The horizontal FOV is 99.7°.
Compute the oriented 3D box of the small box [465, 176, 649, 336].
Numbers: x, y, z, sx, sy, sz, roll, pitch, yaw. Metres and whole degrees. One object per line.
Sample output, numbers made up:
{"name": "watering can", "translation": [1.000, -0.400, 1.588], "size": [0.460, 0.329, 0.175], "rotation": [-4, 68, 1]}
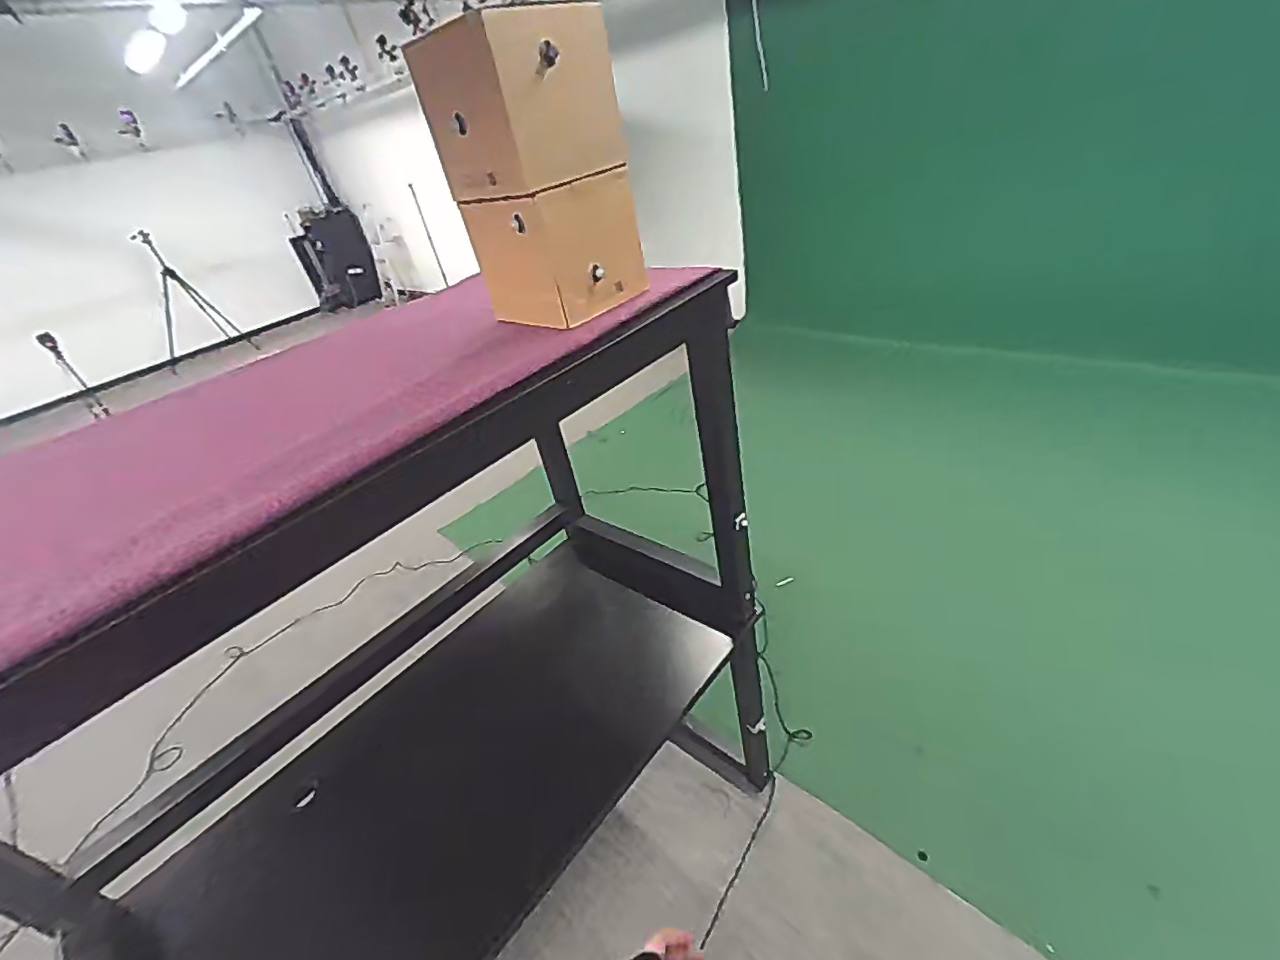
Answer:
{"name": "small box", "translation": [-0.111, -0.316, 0.768], "size": [0.179, 0.176, 0.168], "rotation": [20, 45, 39]}

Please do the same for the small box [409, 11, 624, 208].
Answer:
{"name": "small box", "translation": [-0.141, -0.445, 0.670], "size": [0.168, 0.176, 0.179], "rotation": [20, 46, 39]}
